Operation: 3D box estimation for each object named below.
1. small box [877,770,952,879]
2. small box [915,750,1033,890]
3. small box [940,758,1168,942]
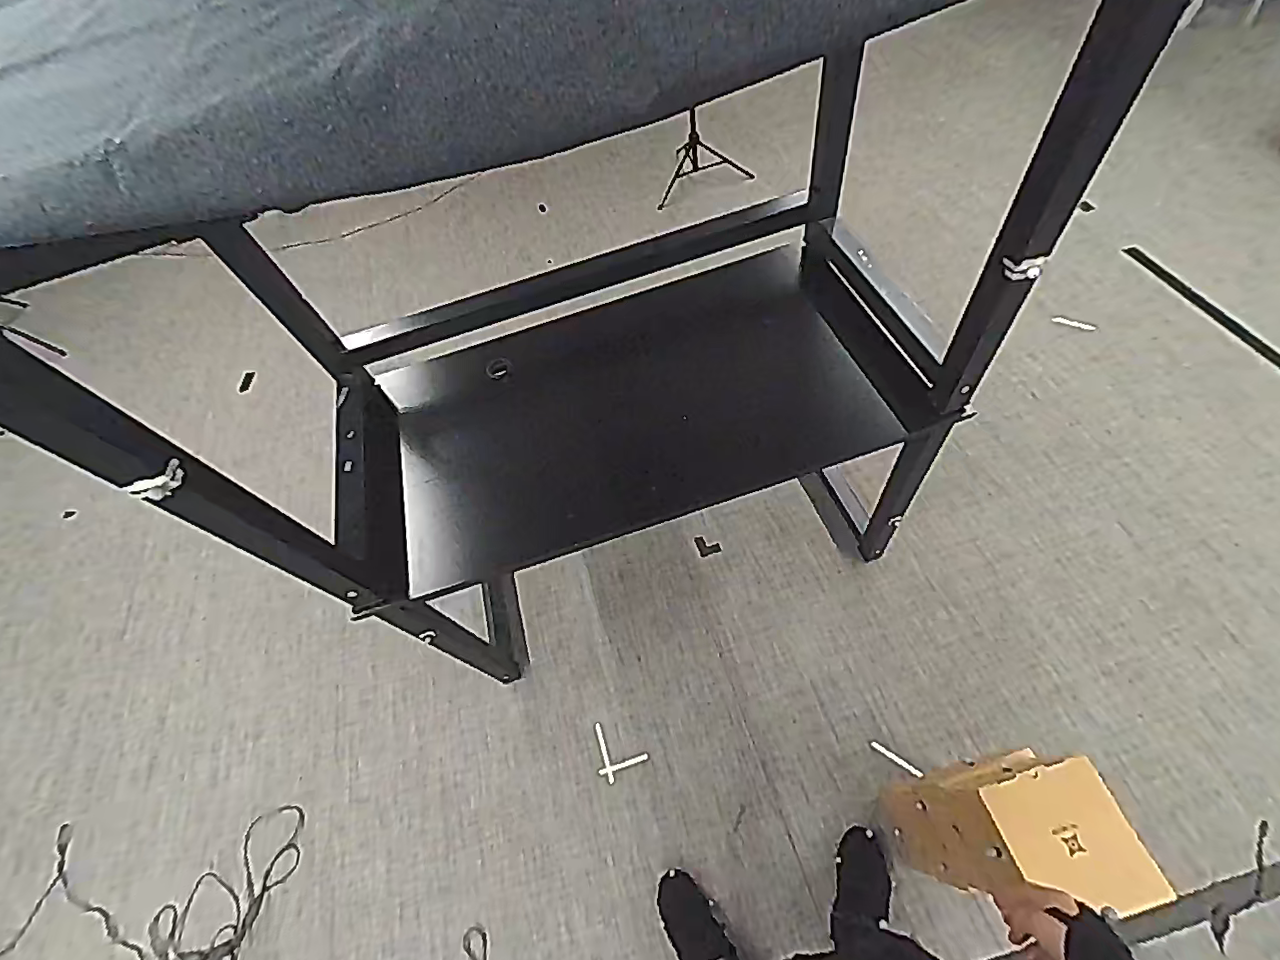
[{"bbox_3d":[0.667,0.764,1.216,0.179,0.176,0.168,-19,58,-1],"label":"small box"},{"bbox_3d":[0.611,0.592,0.942,0.179,0.176,0.168,-20,59,-3],"label":"small box"},{"bbox_3d":[0.584,0.528,0.794,0.168,0.176,0.179,-18,58,-1],"label":"small box"}]
